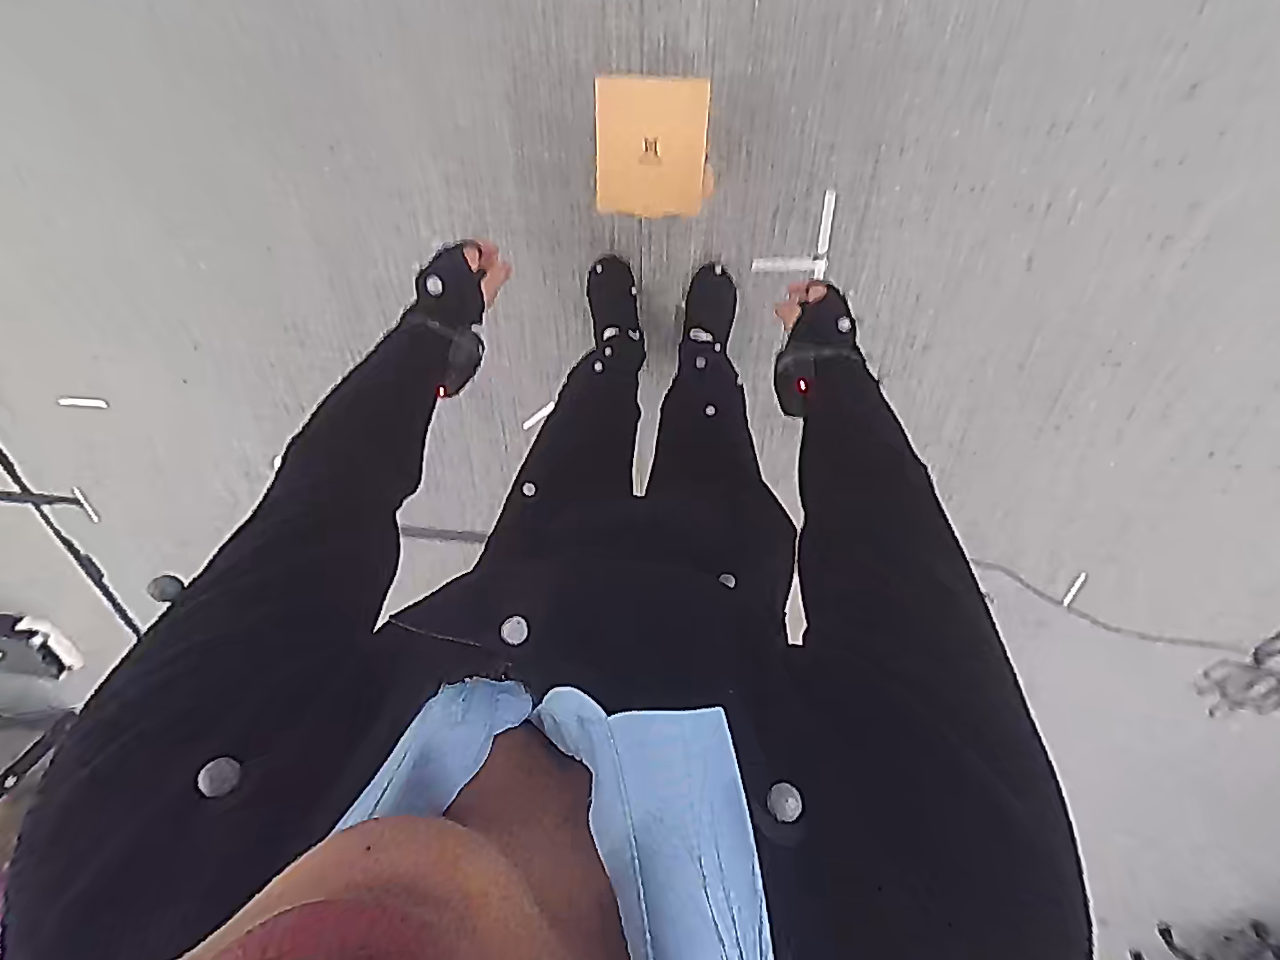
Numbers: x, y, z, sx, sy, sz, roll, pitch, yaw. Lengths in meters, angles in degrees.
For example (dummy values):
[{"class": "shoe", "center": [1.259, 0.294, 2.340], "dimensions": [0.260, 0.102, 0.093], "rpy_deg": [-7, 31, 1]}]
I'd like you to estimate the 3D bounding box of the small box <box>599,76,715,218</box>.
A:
[{"class": "small box", "center": [0.027, -0.531, 0.867], "dimensions": [0.168, 0.176, 0.179], "rpy_deg": [4, 124, 4]}]
